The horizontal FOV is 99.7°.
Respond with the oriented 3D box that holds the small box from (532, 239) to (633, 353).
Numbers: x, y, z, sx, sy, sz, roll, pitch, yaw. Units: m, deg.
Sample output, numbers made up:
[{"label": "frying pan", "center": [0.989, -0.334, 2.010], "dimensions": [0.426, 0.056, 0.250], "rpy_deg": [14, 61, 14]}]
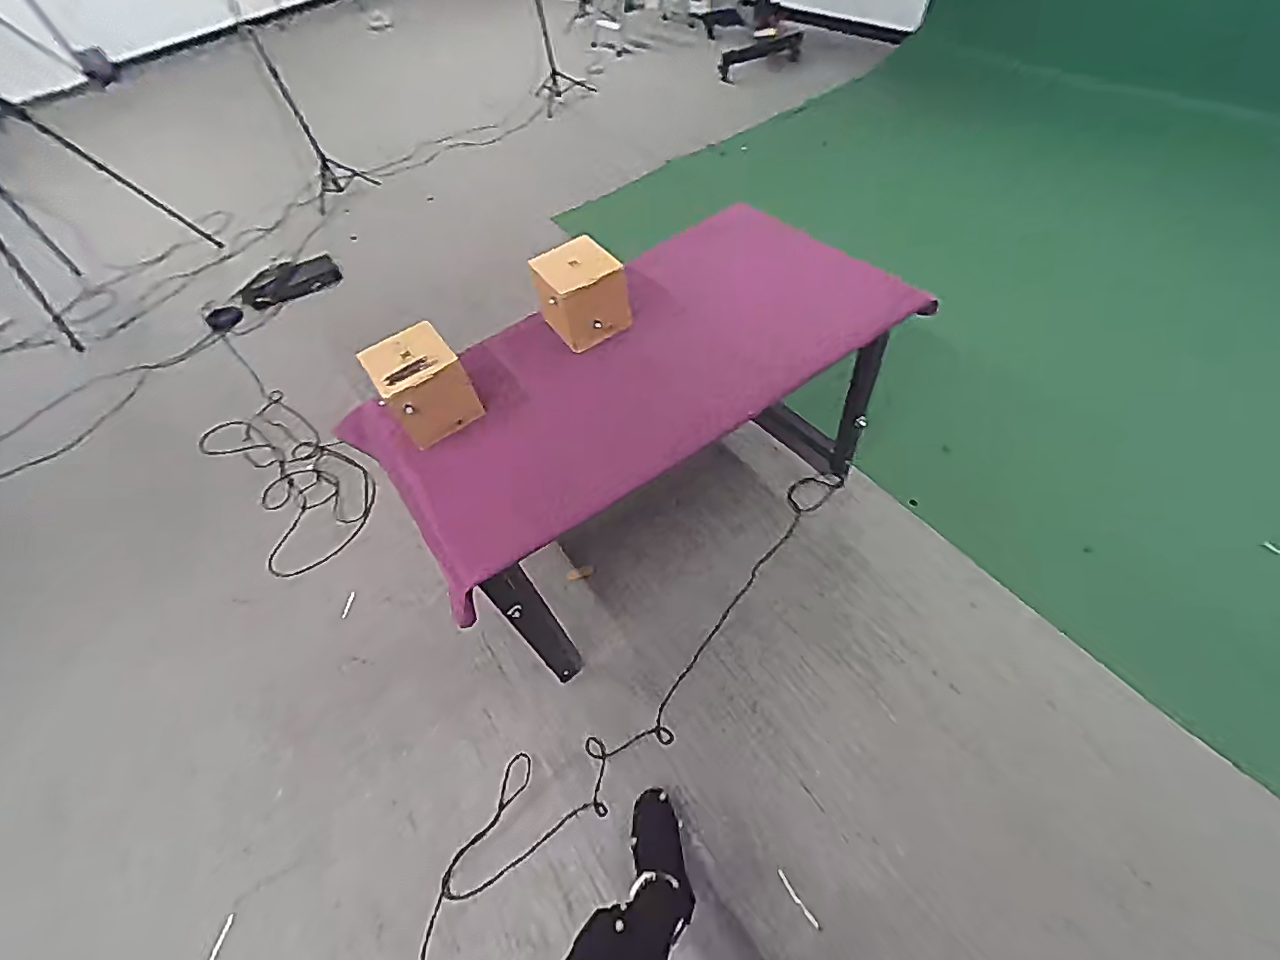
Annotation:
[{"label": "small box", "center": [-0.134, -0.439, 1.299], "dimensions": [0.168, 0.176, 0.179], "rpy_deg": [-31, 57, -14]}]
